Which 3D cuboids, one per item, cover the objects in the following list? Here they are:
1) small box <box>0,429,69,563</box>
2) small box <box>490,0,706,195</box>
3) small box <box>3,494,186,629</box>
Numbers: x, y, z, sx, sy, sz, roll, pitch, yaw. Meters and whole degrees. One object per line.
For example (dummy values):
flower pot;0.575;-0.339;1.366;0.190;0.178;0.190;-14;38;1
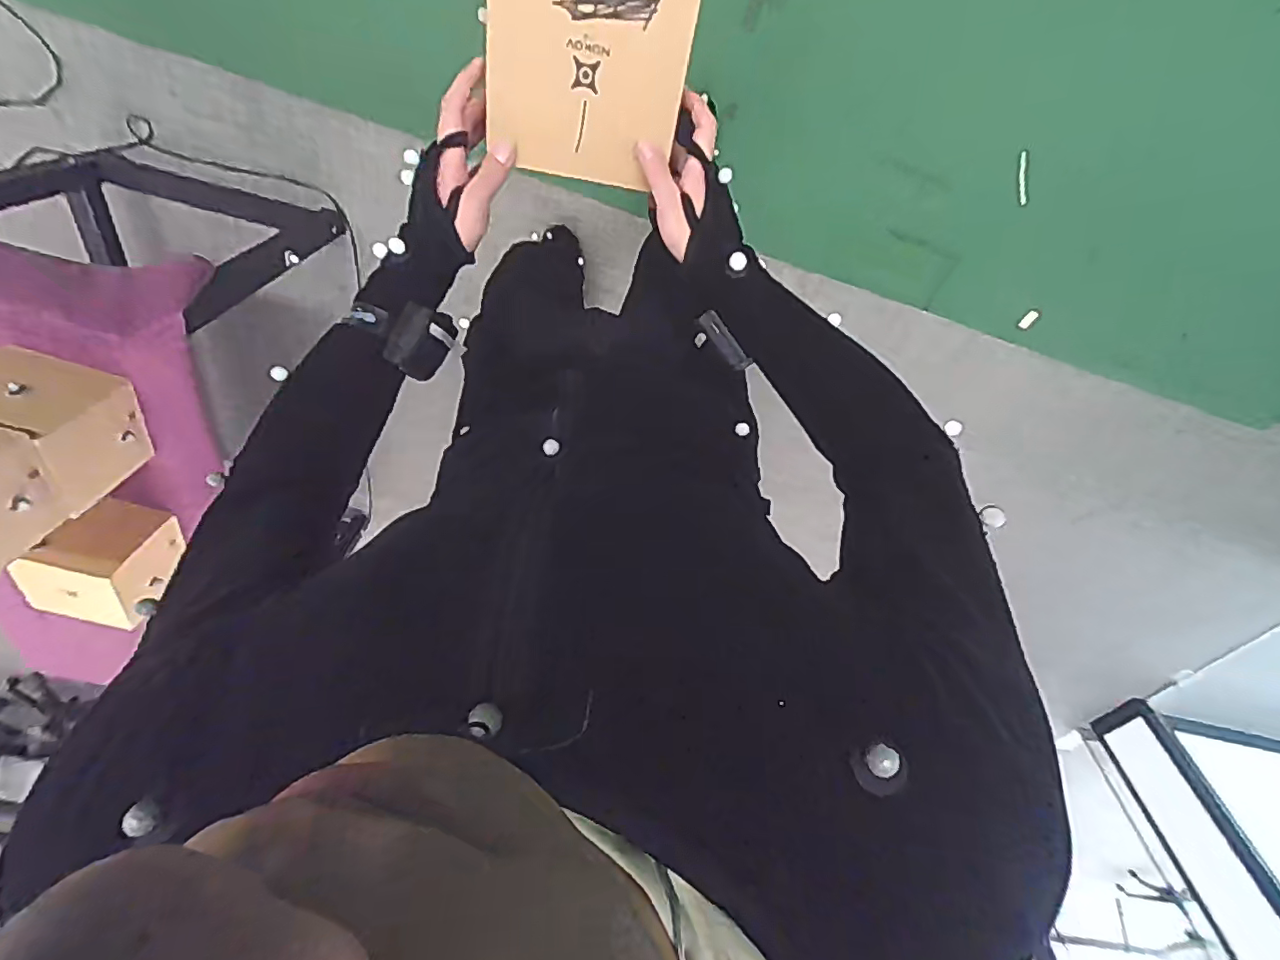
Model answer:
small box;-0.926;0.025;0.698;0.179;0.176;0.168;16;131;-9
small box;-0.045;-0.396;0.506;0.168;0.176;0.179;5;131;-10
small box;-1.014;0.152;1.030;0.179;0.176;0.168;18;129;-9
